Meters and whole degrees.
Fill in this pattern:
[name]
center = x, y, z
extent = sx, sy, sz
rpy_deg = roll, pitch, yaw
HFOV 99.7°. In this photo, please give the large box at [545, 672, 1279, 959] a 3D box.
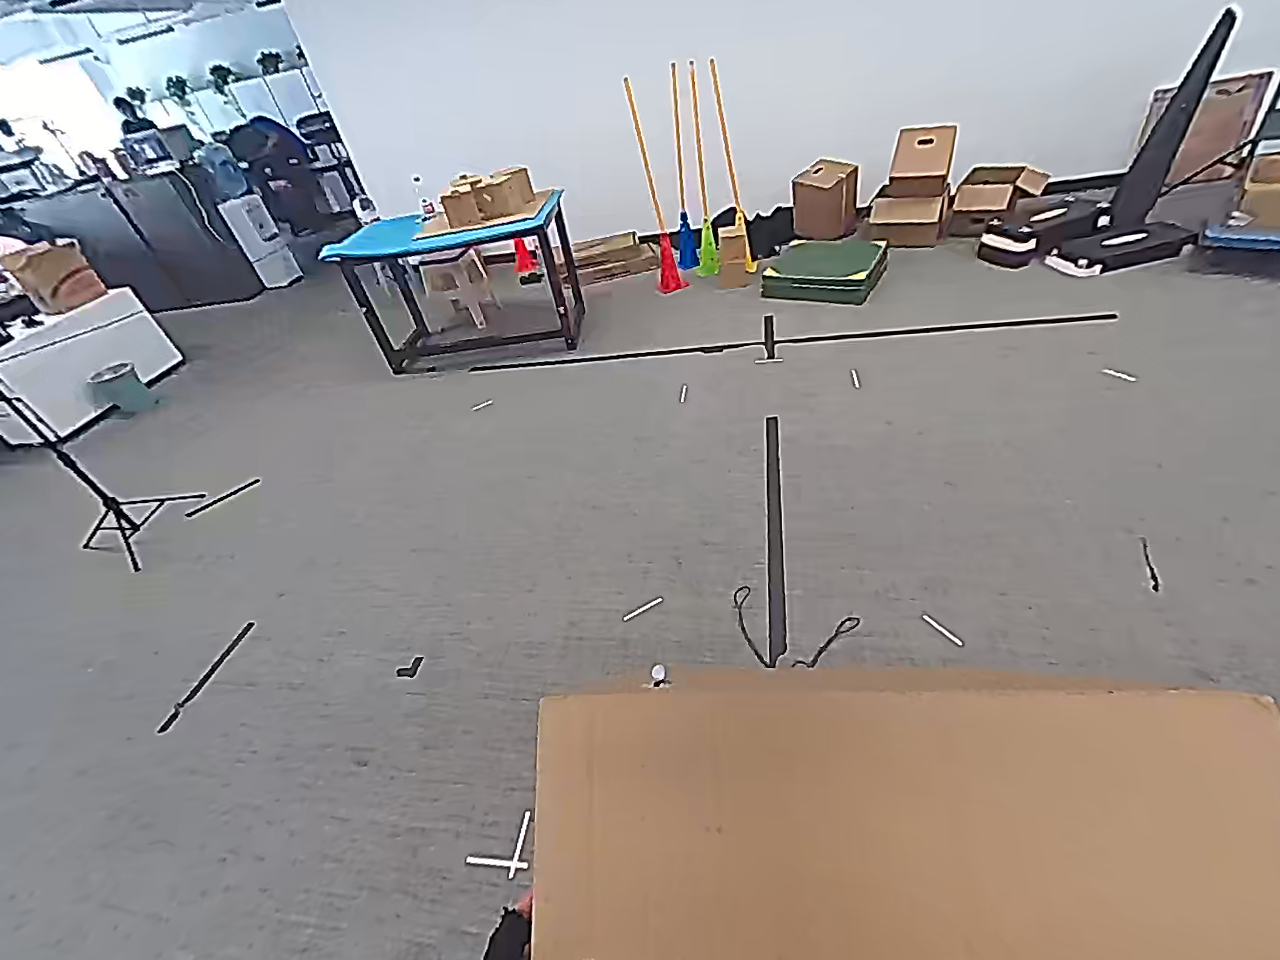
[large box]
center = 0.165, 0.324, 0.426
extent = 0.408, 0.320, 0.320
rpy_deg = -5, 74, 11
